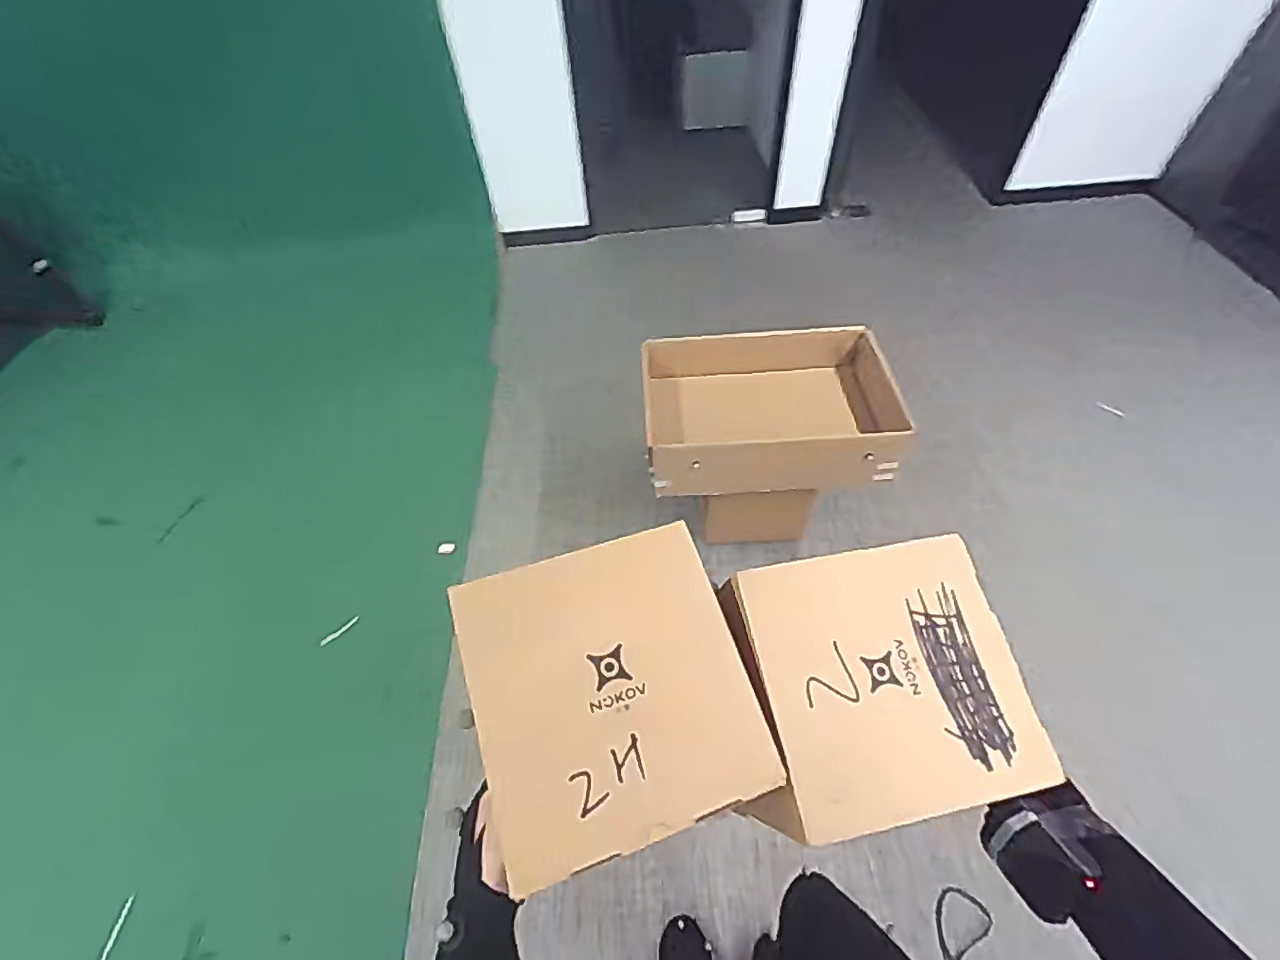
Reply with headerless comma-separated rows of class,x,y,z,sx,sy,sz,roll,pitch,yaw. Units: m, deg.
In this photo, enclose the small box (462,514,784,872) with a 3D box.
small box,-0.025,0.151,0.406,0.168,0.176,0.179,-14,66,-13
